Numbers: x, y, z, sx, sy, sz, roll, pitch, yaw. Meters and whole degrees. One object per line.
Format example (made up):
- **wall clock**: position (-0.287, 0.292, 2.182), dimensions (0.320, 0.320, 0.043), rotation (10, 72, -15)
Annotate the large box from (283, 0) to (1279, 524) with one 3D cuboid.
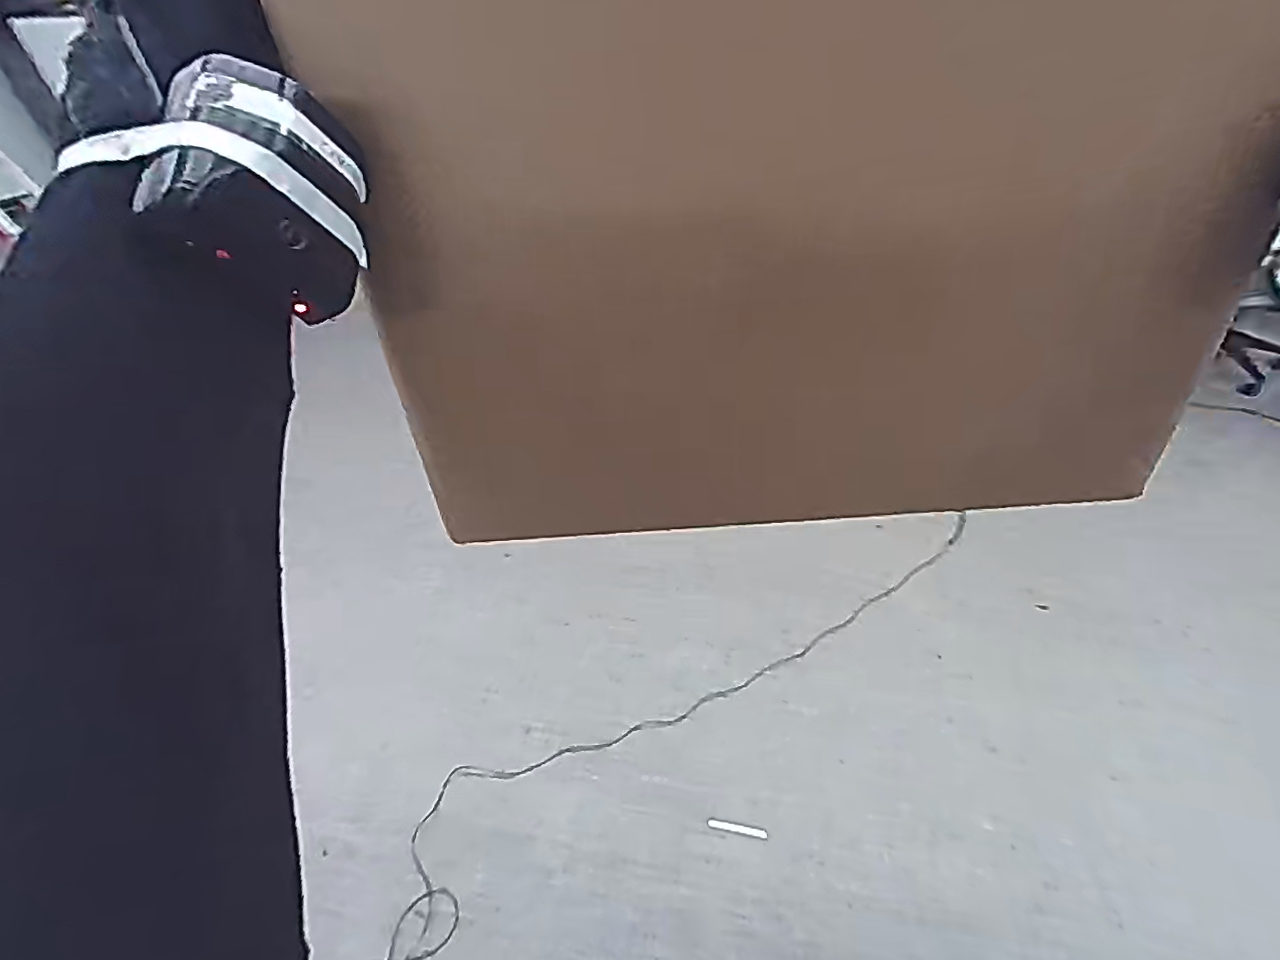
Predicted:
- **large box**: position (0.065, -0.191, 0.366), dimensions (0.408, 0.320, 0.320), rotation (-4, 34, 1)
